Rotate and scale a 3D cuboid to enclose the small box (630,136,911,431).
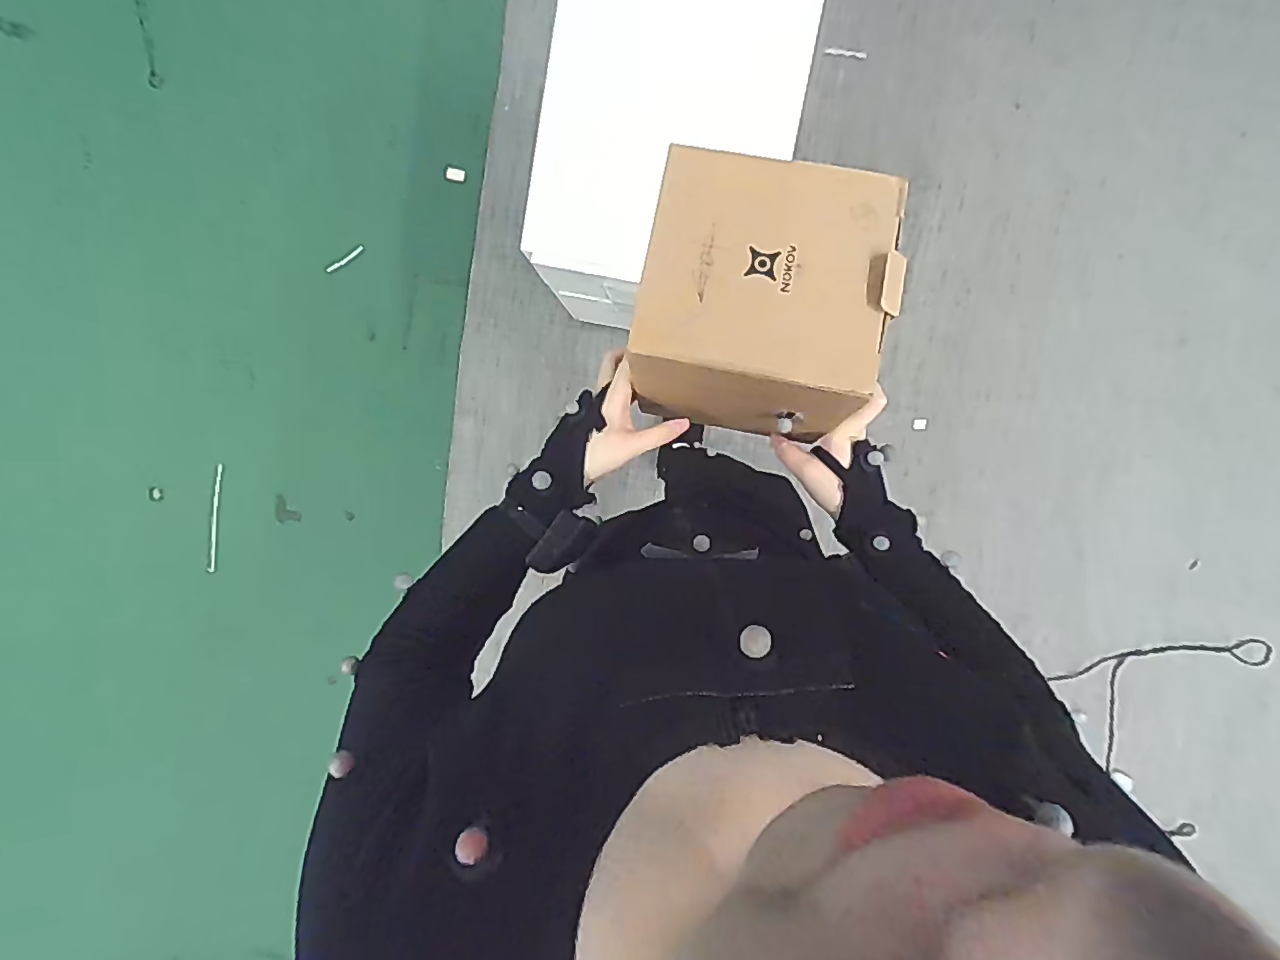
[{"bbox_3d":[0.098,-0.147,0.460,0.179,0.176,0.168,10,82,5],"label":"small box"}]
